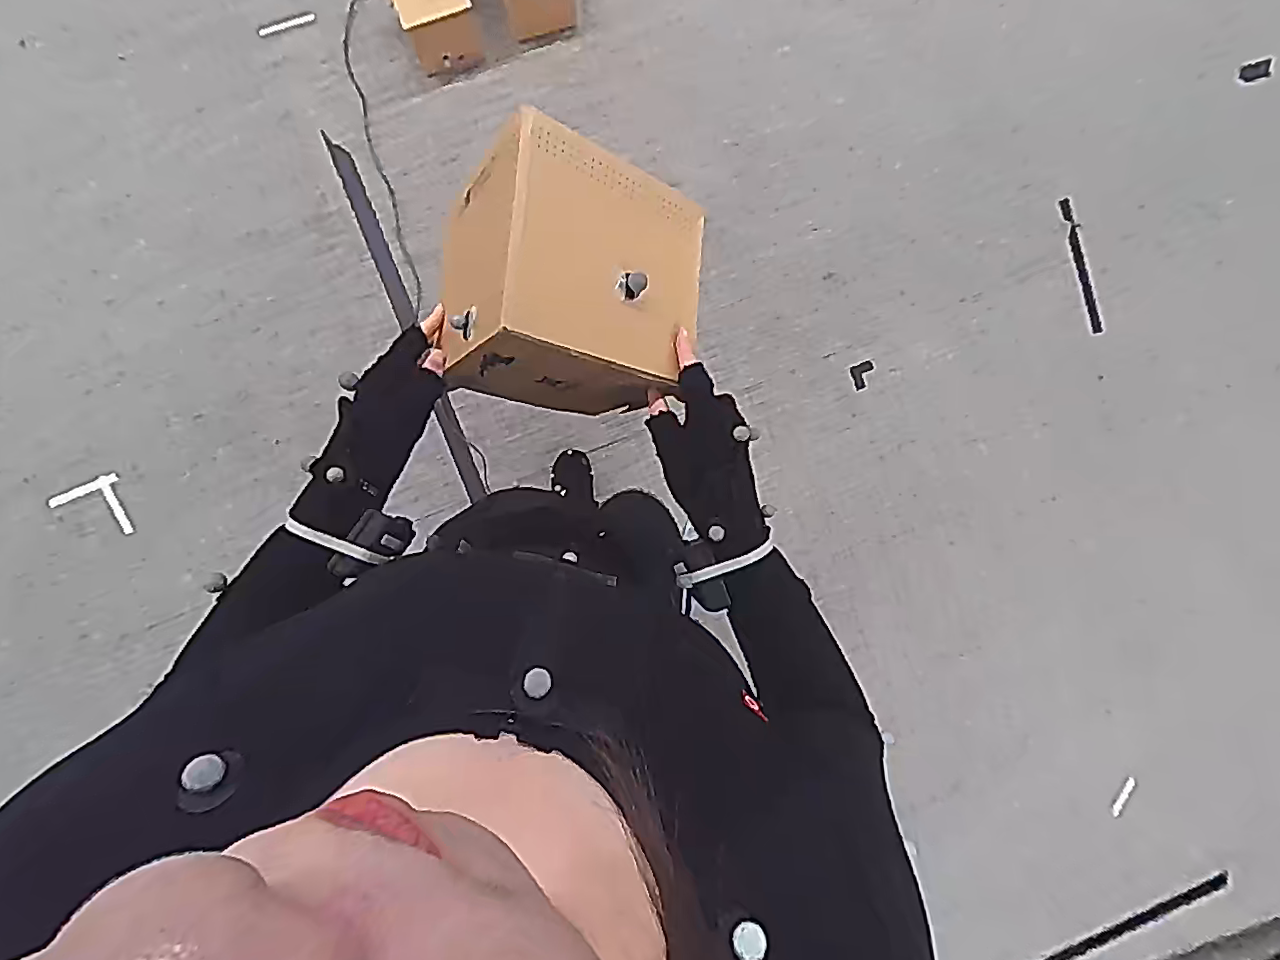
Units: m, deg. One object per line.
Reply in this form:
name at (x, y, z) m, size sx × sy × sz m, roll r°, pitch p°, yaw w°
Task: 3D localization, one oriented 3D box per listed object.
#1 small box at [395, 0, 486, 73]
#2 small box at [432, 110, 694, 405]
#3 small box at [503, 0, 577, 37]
small box at (-0.490, -1.136, 1.296) m, size 0.168 × 0.176 × 0.179 m, roll -21°, pitch 96°, yaw -2°
small box at (-0.066, -0.174, 0.479) m, size 0.179 × 0.168 × 0.176 m, roll 8°, pitch 82°, yaw -37°
small box at (-0.259, -1.231, 1.311) m, size 0.179 × 0.176 × 0.168 m, roll -19°, pitch 95°, yaw -4°
